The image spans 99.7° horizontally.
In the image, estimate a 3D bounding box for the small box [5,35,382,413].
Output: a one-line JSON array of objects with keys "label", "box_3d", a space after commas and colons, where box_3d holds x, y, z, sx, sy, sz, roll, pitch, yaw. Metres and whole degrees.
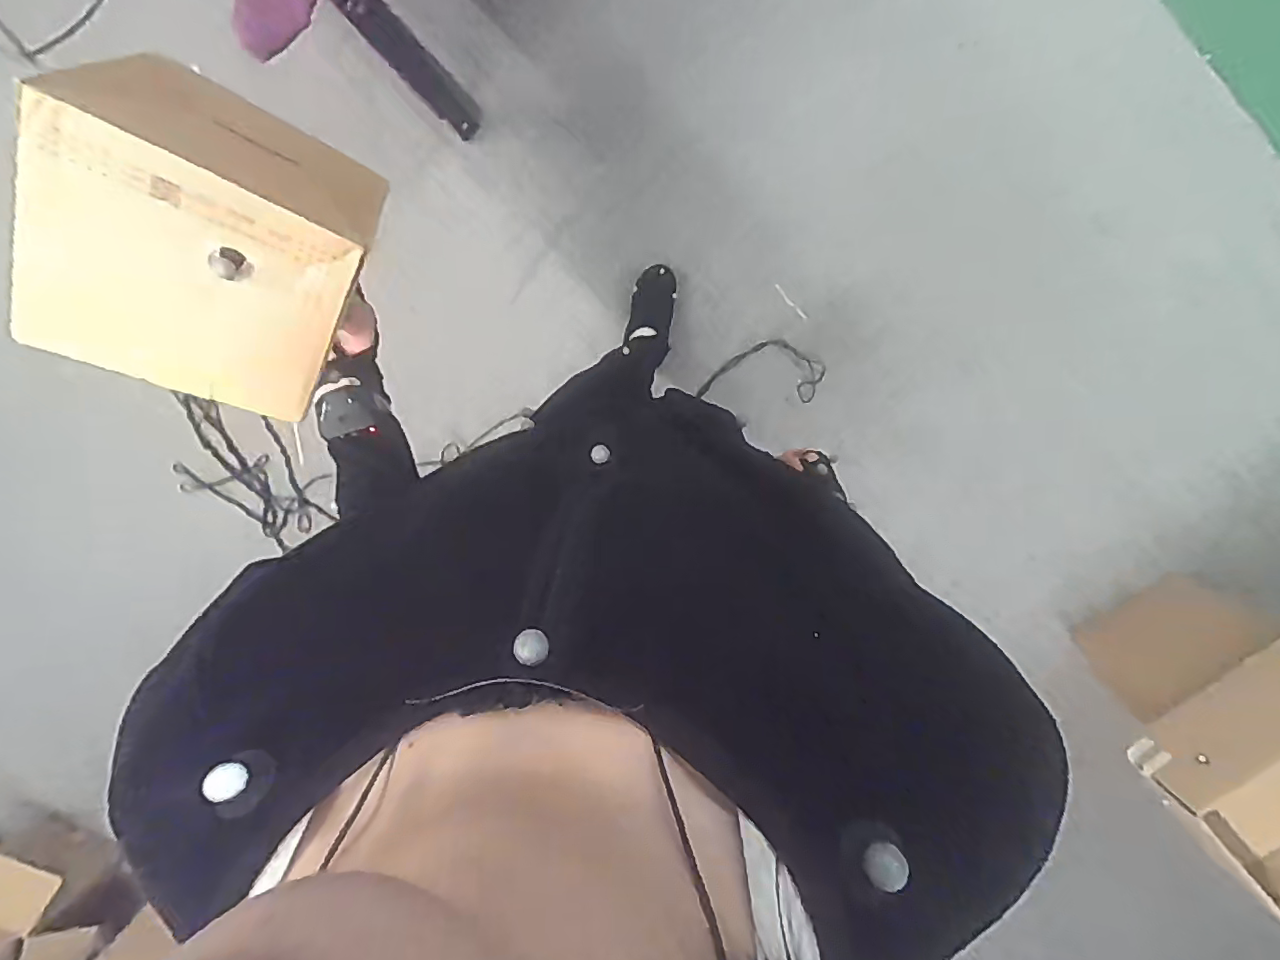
[{"label": "small box", "box_3d": [-0.310, -0.188, 0.407, 0.168, 0.179, 0.176, 20, 122, -33]}]
